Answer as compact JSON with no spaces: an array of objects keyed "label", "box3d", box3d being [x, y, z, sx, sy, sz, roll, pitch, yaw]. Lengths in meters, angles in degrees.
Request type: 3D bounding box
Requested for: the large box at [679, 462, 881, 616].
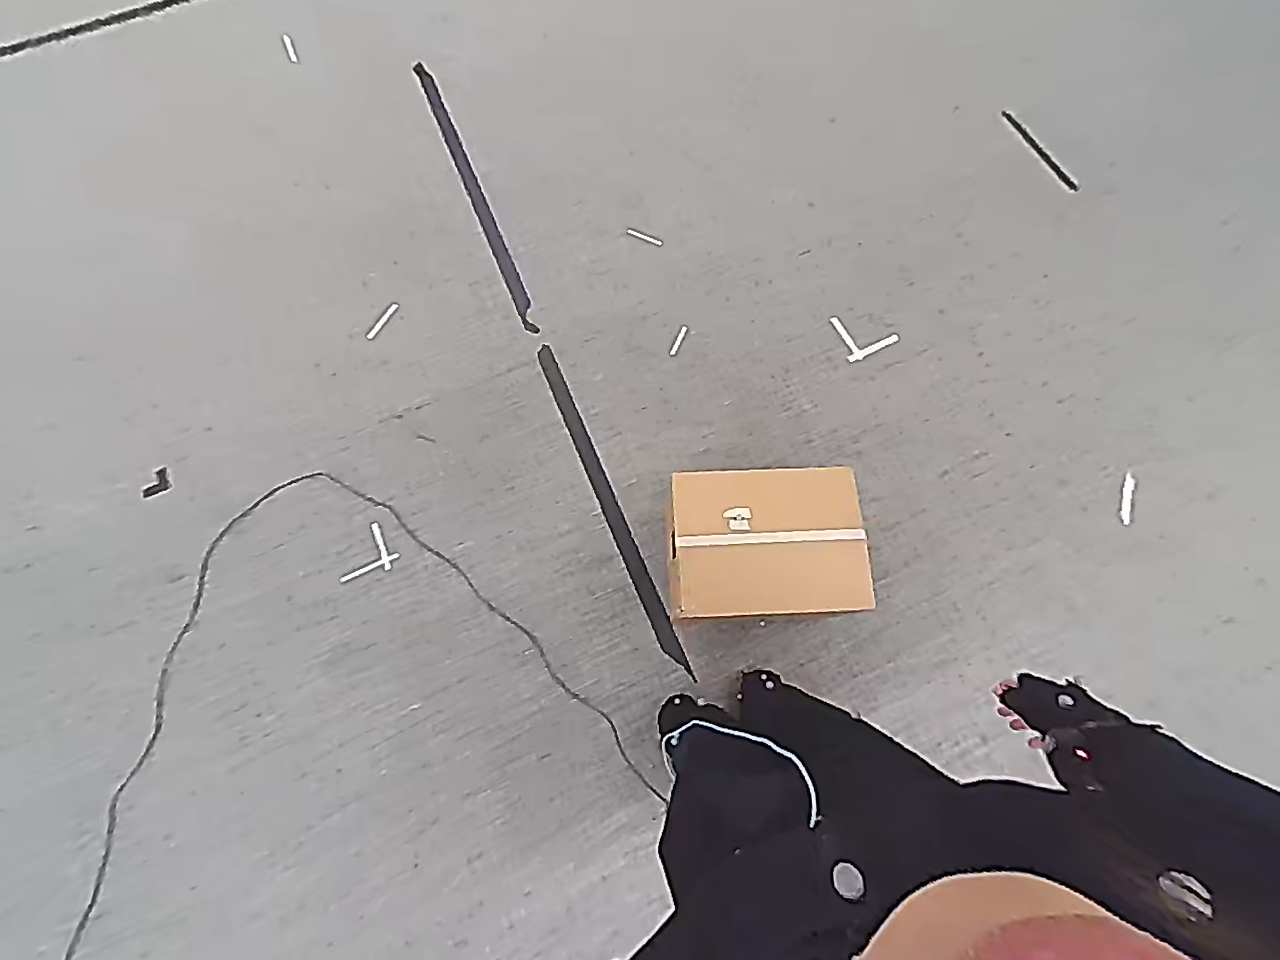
[{"label":"large box","box3d":[0.307,0.159,1.318,0.408,0.320,0.320,-3,72,1]}]
